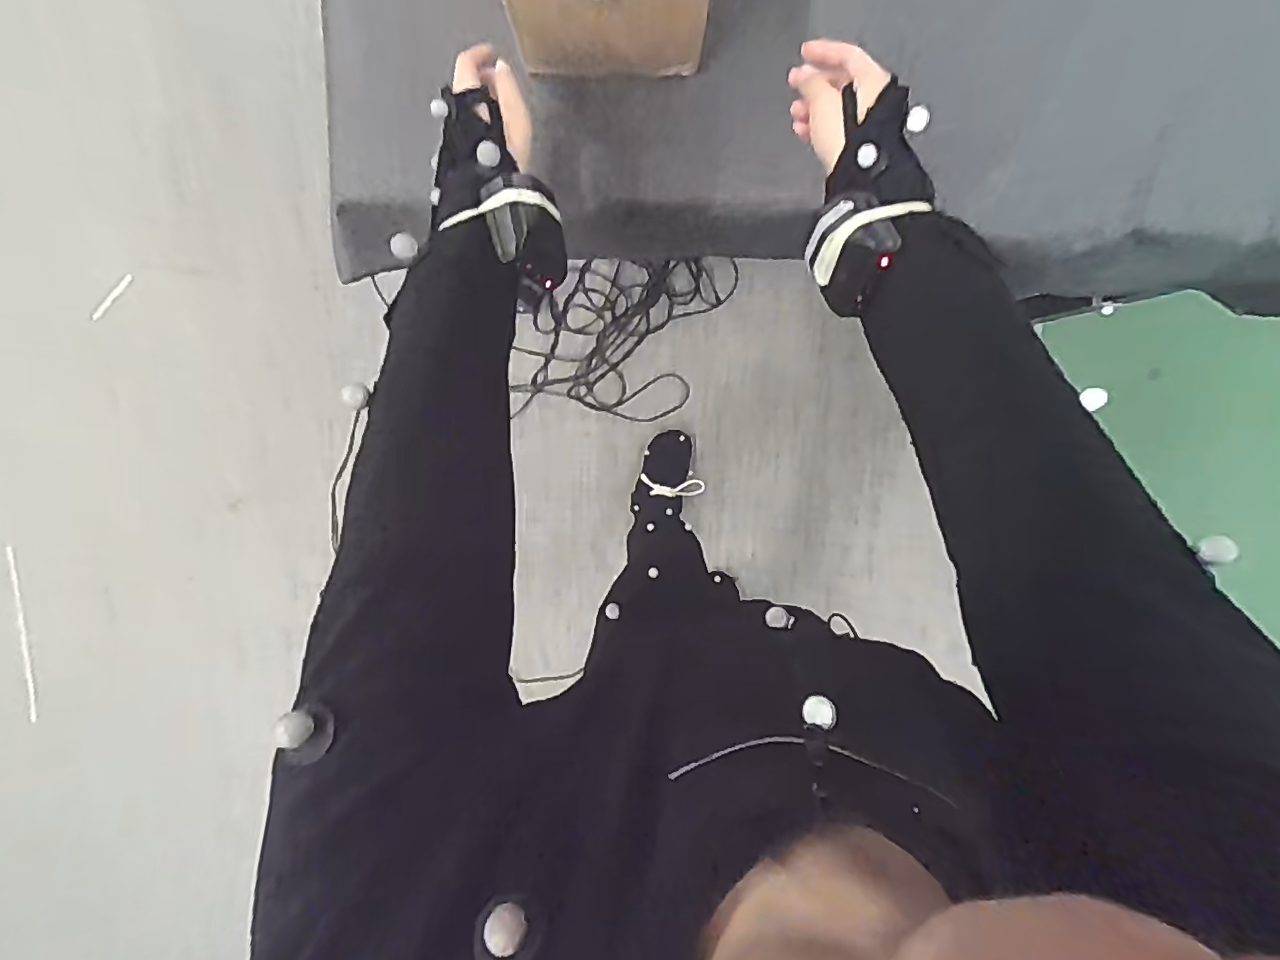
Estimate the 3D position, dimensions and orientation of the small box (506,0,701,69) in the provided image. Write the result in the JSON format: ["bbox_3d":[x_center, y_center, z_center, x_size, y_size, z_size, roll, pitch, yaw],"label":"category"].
[{"bbox_3d":[-0.031,-0.485,0.457,0.179,0.176,0.168,0,98,-1],"label":"small box"}]
